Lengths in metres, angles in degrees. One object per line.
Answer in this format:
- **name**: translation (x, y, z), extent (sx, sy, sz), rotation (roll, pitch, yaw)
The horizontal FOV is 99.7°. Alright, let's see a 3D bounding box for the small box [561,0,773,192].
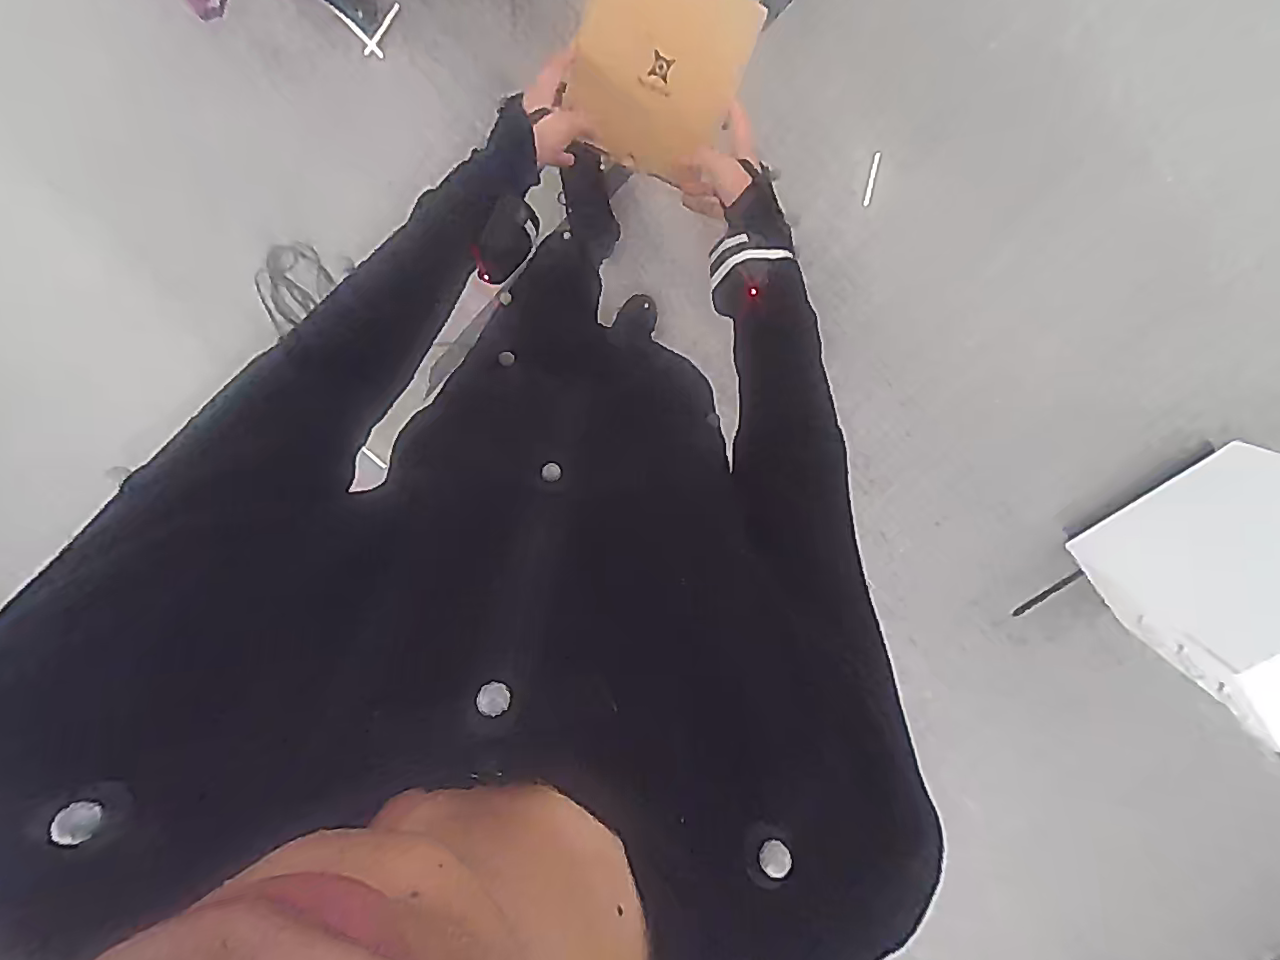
- **small box**: translation (0.013, -0.457, 0.606), extent (0.168, 0.176, 0.179), rotation (15, 121, -20)
